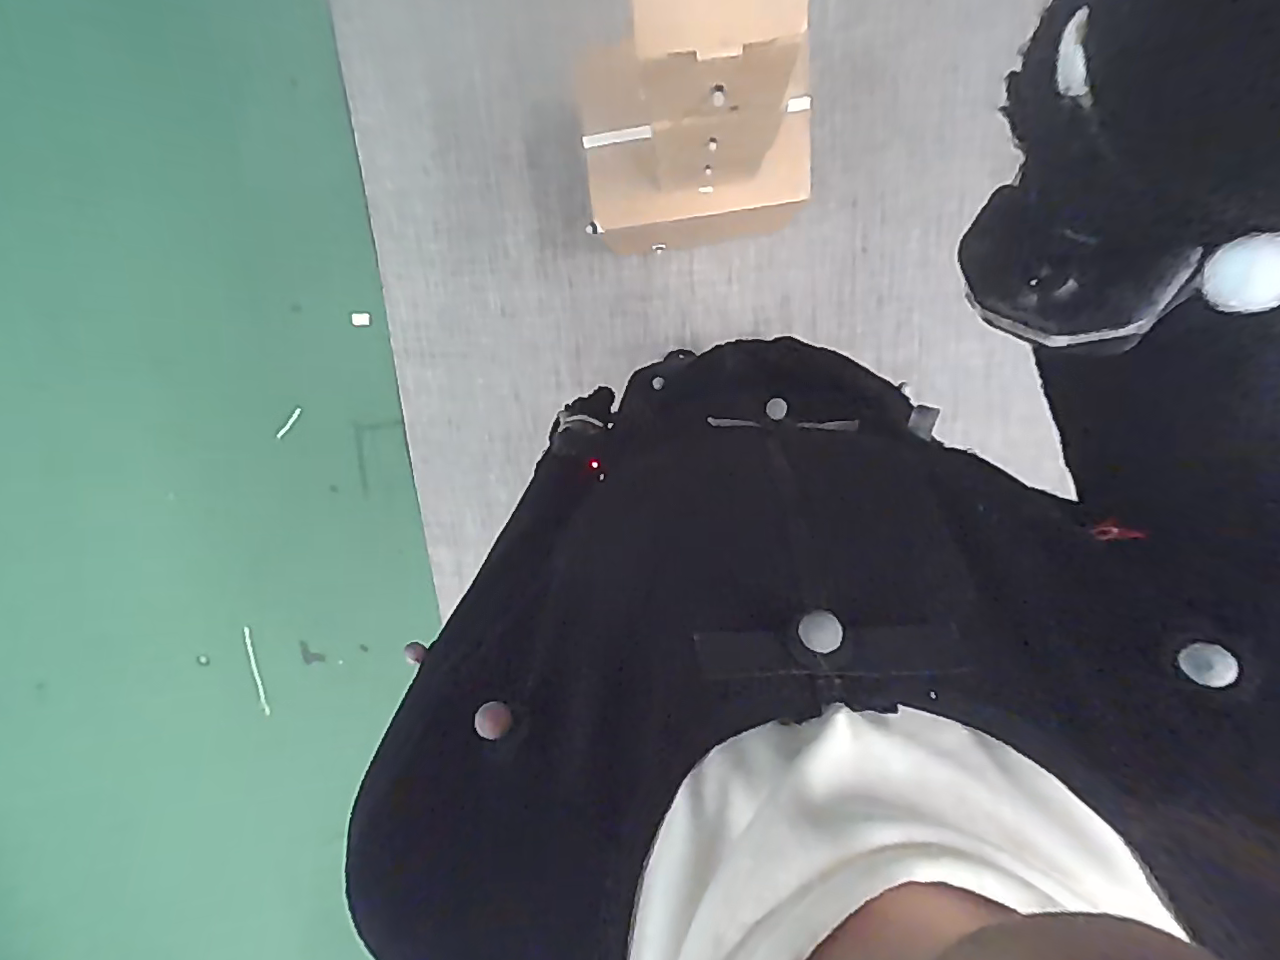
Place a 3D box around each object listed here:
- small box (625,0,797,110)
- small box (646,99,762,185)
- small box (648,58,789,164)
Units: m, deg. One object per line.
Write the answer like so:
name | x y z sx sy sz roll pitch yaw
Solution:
small box | 0.076 -0.523 0.579 0.168 0.176 0.179 -1 106 7
small box | 0.104 -0.604 0.895 0.179 0.176 0.168 -3 105 6
small box | 0.095 -0.556 0.738 0.179 0.176 0.168 -7 105 7
